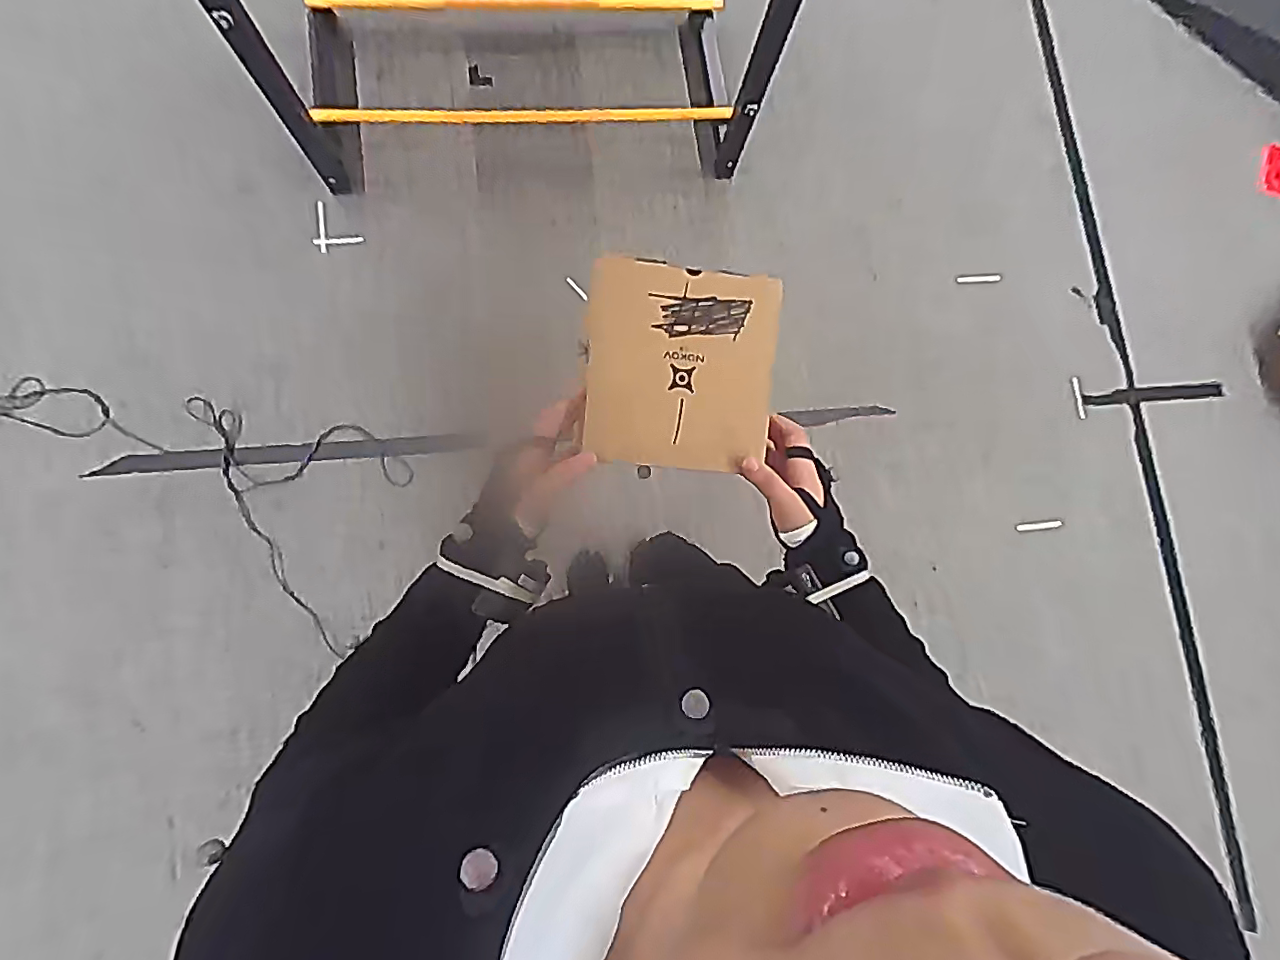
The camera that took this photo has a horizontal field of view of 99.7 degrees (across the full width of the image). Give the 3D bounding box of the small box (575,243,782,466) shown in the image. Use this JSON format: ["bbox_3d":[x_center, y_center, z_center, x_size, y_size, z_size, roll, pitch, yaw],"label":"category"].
[{"bbox_3d":[0.025,-0.109,0.542,0.168,0.176,0.179,4,93,-9],"label":"small box"}]
